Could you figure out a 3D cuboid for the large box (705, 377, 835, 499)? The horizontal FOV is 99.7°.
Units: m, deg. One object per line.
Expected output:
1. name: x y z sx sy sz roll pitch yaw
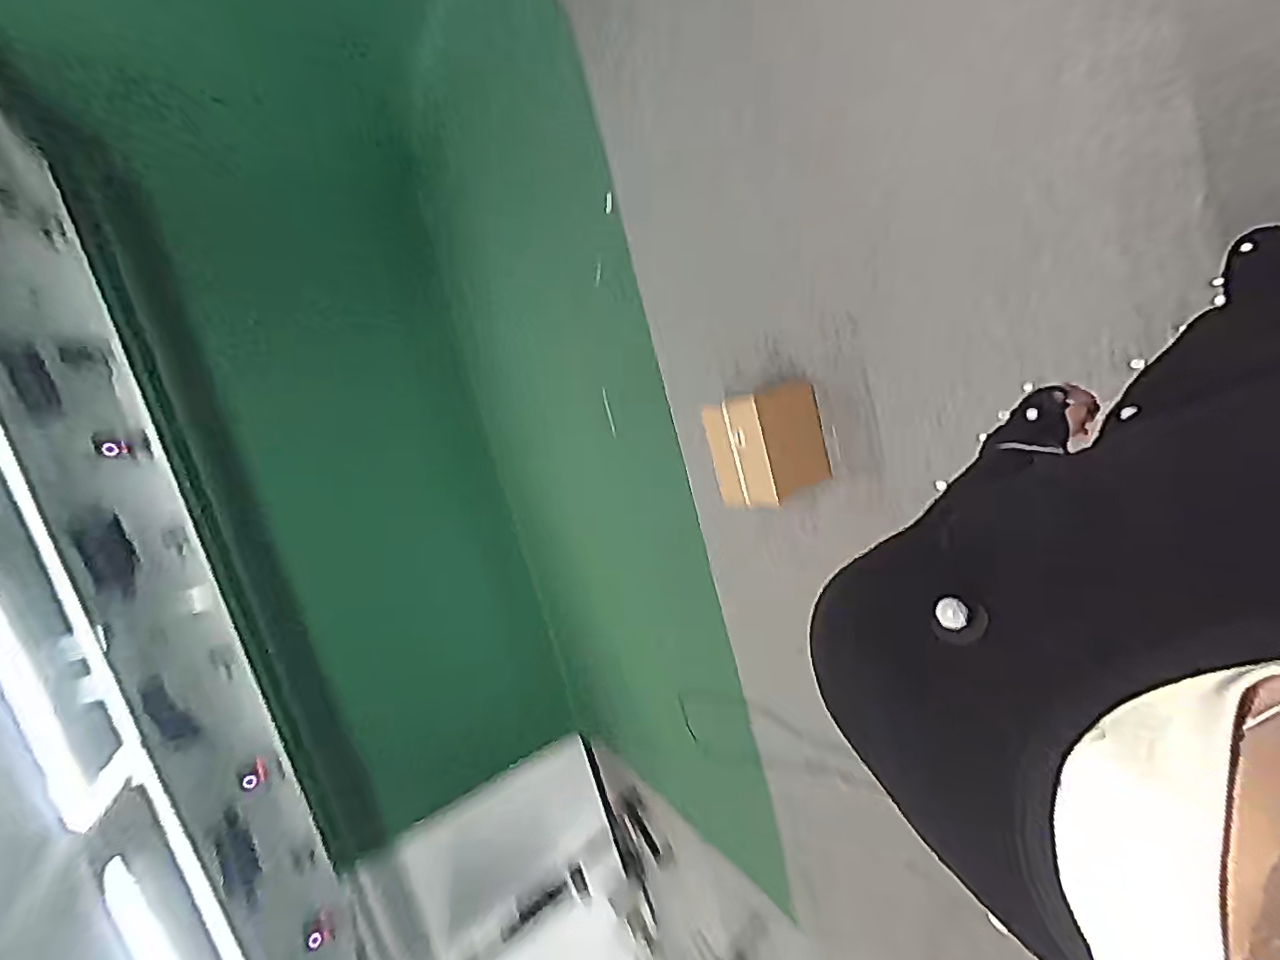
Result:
1. large box: 0.509 -0.158 2.122 0.320 0.320 0.408 -3 104 59
